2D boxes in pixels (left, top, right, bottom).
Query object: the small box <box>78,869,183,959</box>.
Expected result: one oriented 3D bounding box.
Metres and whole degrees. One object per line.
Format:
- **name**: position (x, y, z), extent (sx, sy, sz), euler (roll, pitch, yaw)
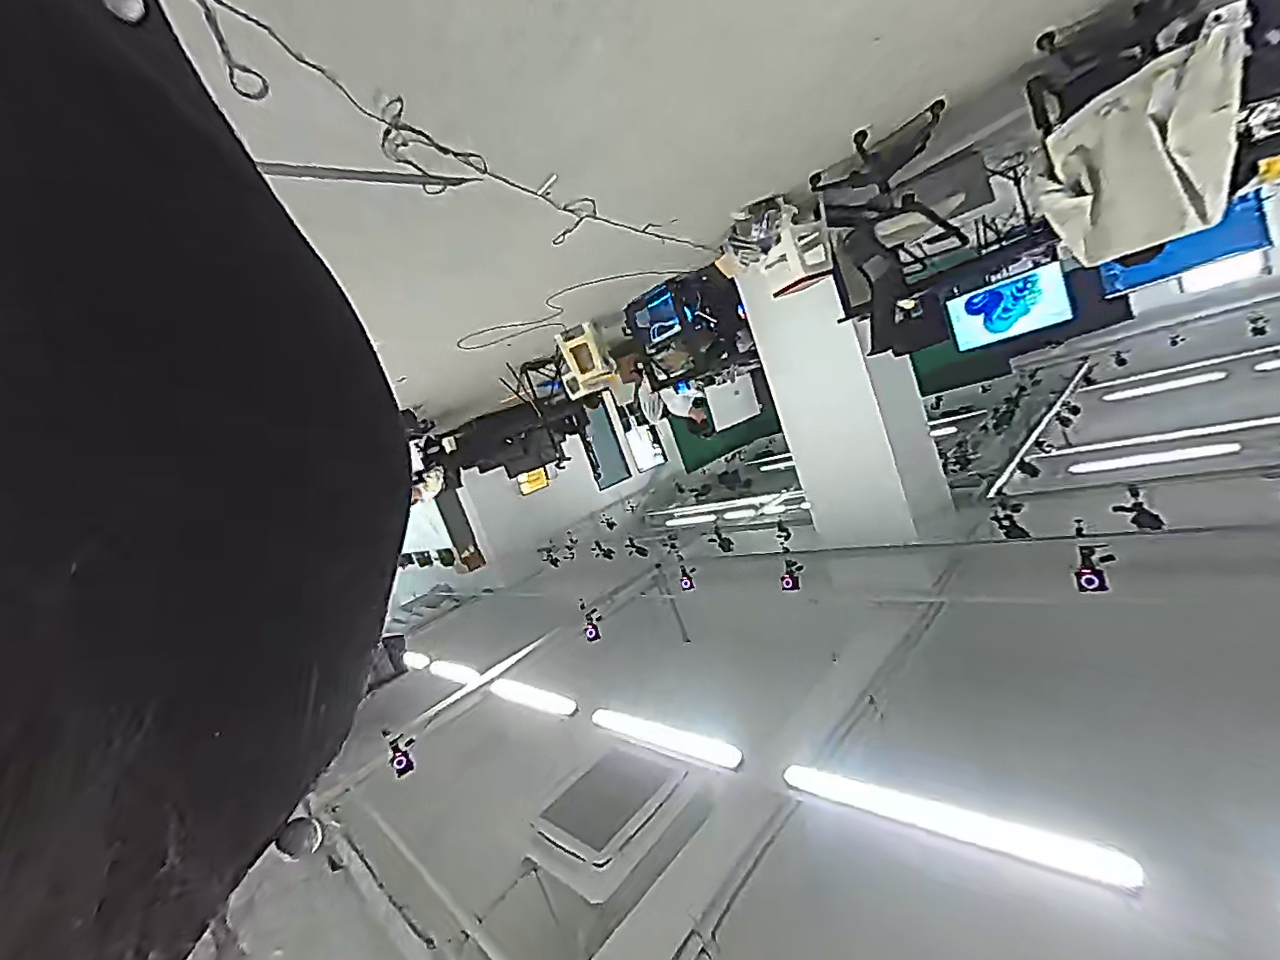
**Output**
- **small box**: position (-1.394, 1.231, 1.485), extent (0.168, 0.176, 0.179), euler (-24, -172, -40)
